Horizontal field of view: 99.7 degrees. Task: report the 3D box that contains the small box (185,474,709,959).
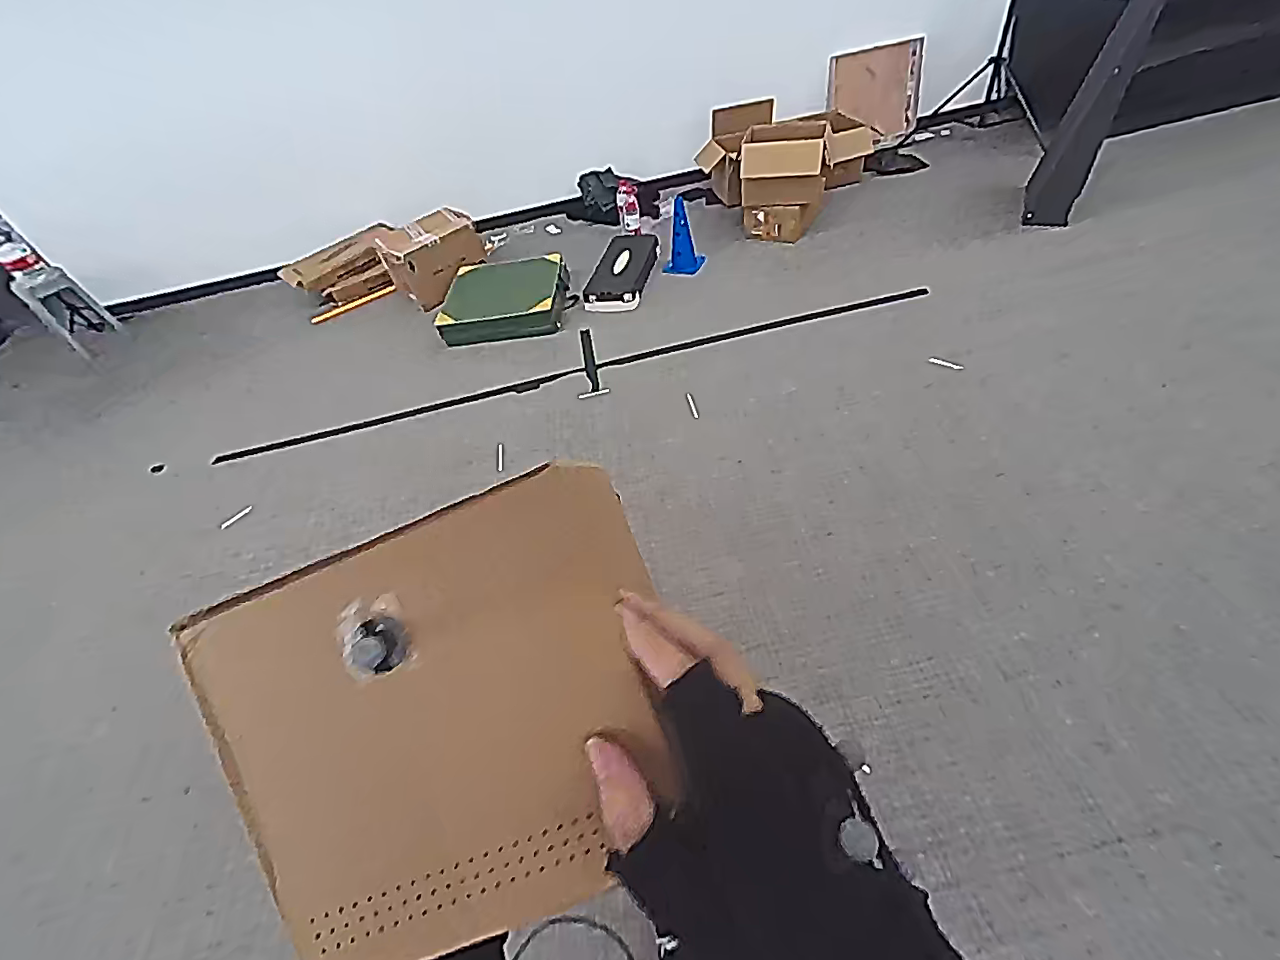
[{"bbox_3d":[-0.077,0.107,0.297,0.179,0.168,0.176,-23,90,5],"label":"small box"}]
